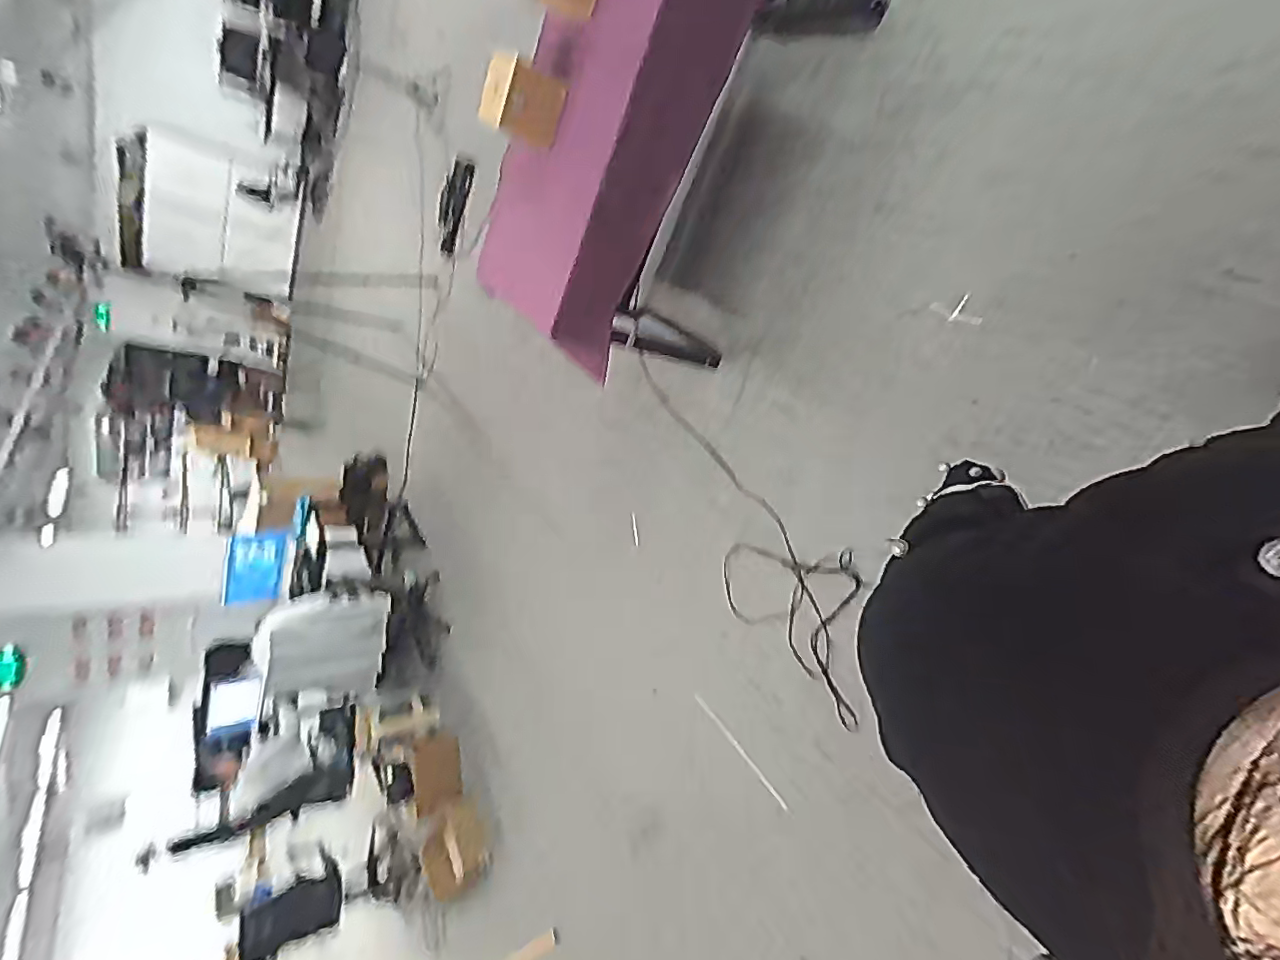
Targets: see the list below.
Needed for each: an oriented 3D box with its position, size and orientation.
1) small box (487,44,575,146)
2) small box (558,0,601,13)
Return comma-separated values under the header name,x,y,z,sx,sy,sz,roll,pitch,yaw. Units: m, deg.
name,x,y,z,sx,sy,sz,roll,pitch,yaw
small box,-0.309,-1.092,1.542,0.168,0.176,0.179,49,122,38
small box,-0.177,-1.361,1.409,0.179,0.176,0.168,50,123,39
